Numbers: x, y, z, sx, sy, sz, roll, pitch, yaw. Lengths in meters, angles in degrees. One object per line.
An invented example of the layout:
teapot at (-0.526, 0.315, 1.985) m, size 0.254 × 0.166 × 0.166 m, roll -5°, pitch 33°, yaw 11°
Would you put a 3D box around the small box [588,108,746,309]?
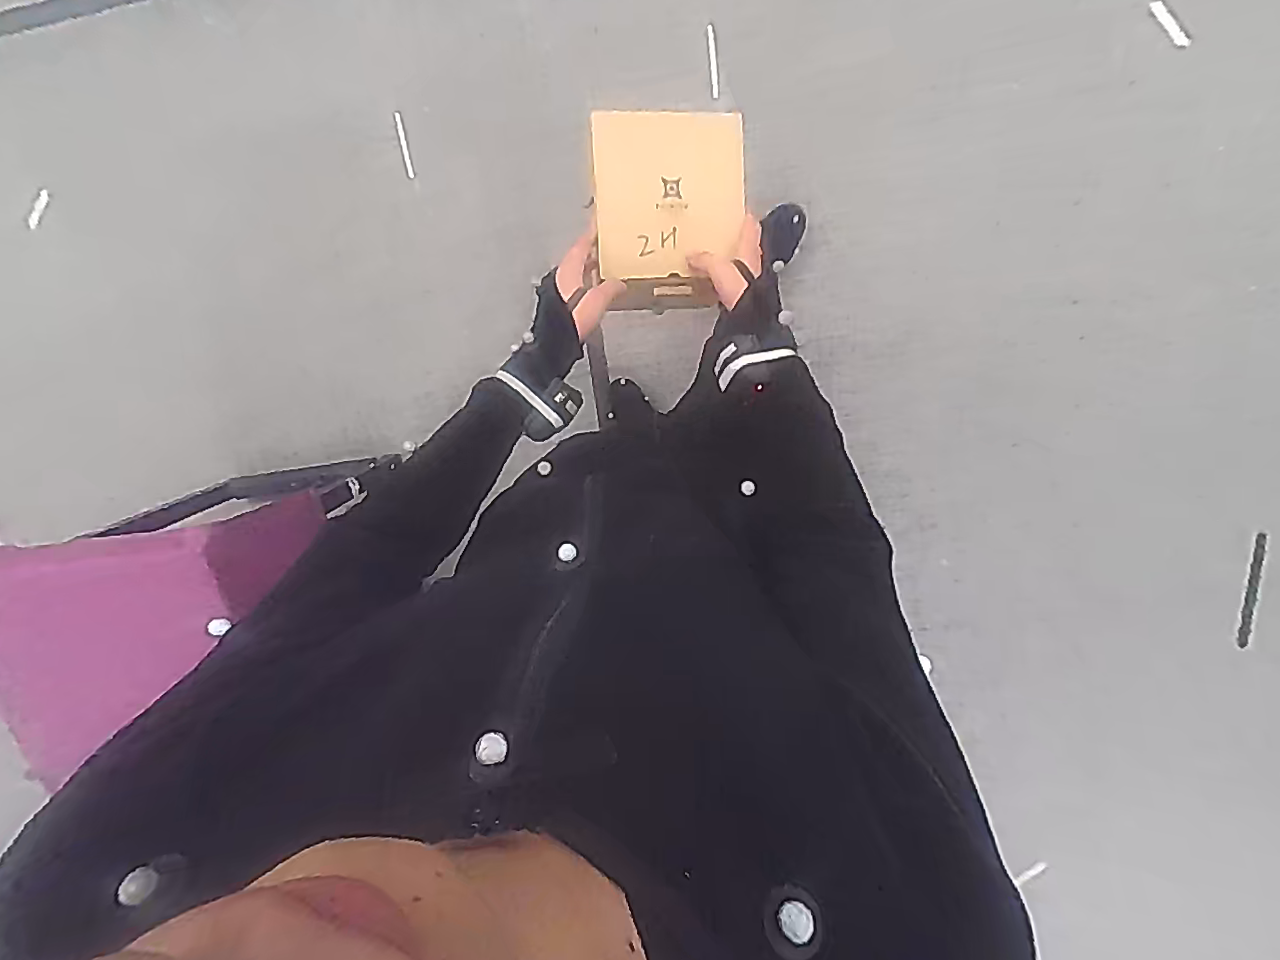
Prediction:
small box at (0.024, -0.319, 0.665) m, size 0.168 × 0.176 × 0.179 m, roll -4°, pitch 97°, yaw -6°
